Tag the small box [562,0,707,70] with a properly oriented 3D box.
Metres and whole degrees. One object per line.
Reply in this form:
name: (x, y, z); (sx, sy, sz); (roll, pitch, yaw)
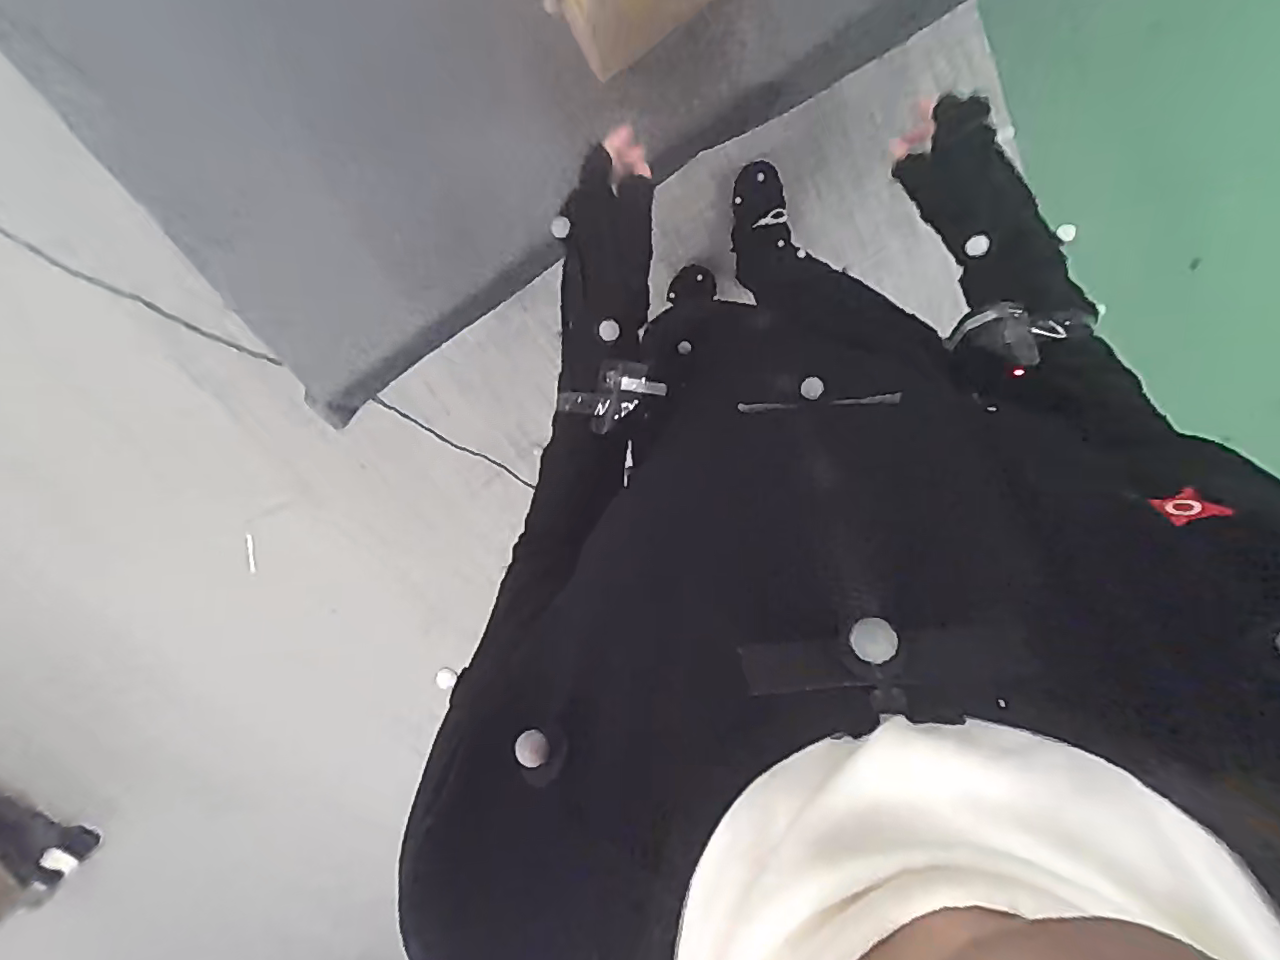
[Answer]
small box: (-0.005, -0.454, 0.400); (0.179, 0.176, 0.168); (-29, 112, 13)
